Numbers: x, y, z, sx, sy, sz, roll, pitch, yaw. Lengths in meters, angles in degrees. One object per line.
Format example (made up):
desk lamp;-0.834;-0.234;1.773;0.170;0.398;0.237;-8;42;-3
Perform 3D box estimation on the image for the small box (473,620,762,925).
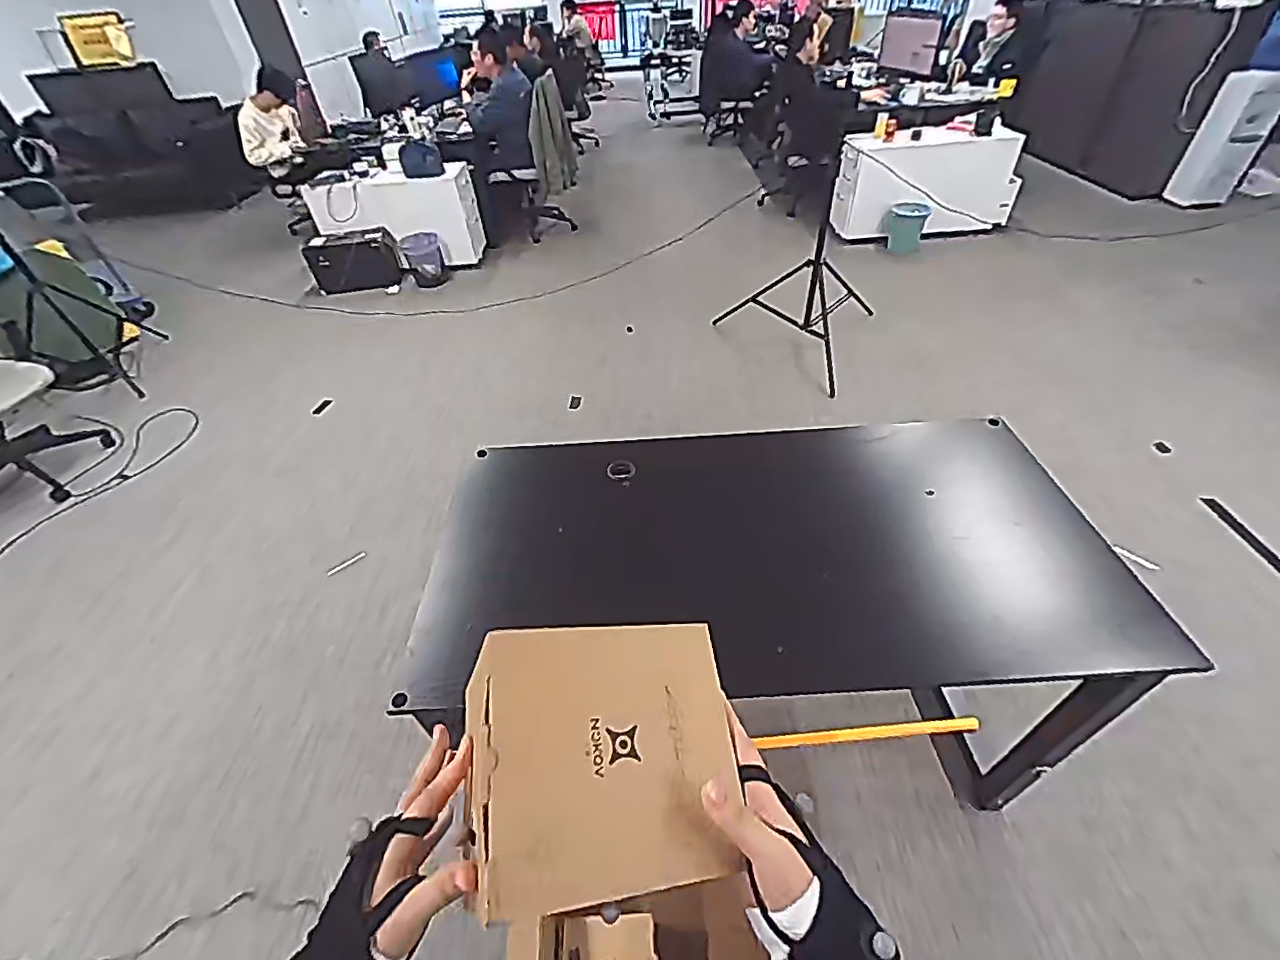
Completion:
small box;-0.037;0.220;0.425;0.179;0.176;0.168;2;58;-21
